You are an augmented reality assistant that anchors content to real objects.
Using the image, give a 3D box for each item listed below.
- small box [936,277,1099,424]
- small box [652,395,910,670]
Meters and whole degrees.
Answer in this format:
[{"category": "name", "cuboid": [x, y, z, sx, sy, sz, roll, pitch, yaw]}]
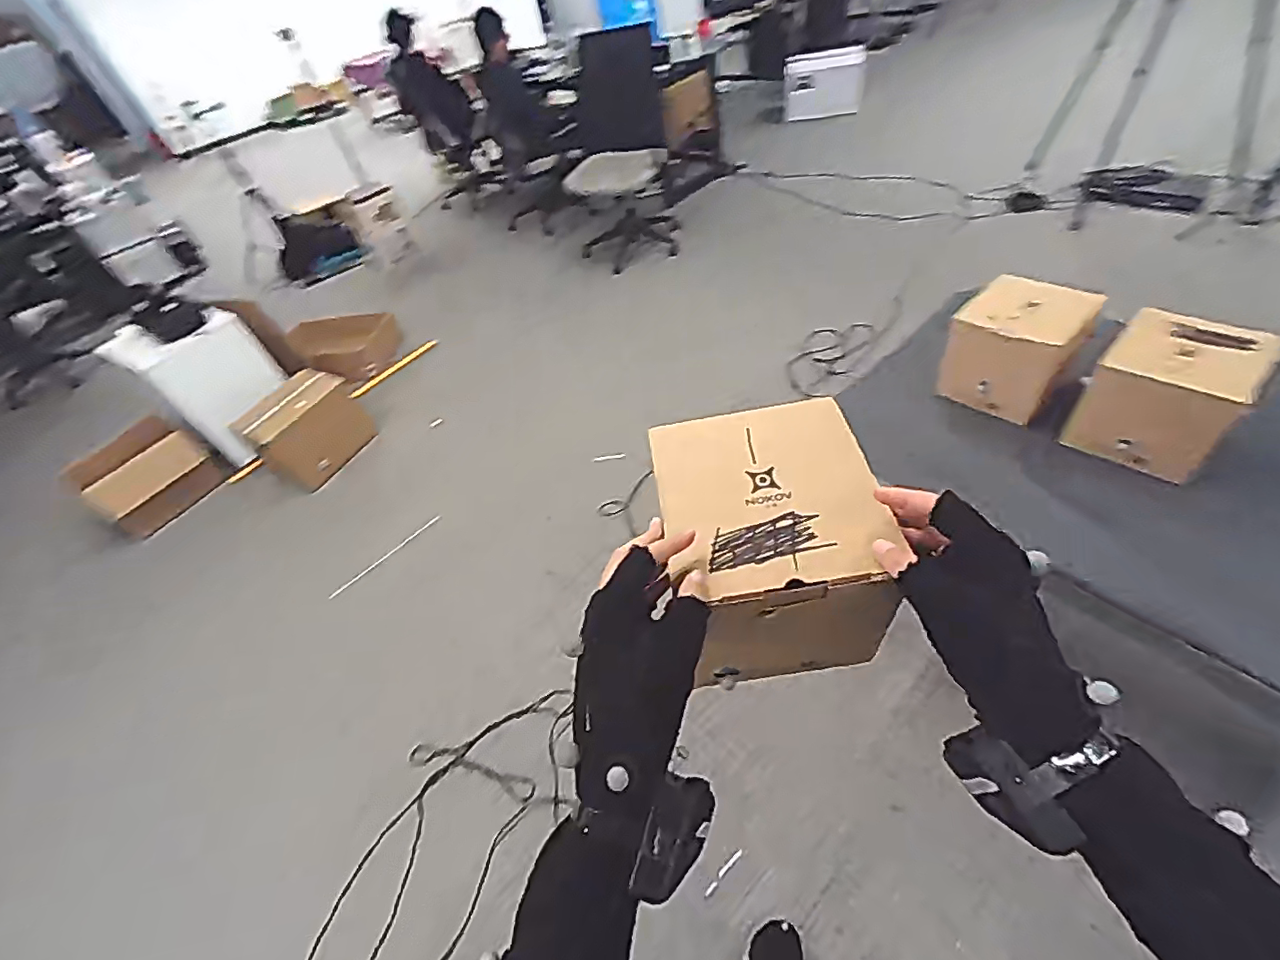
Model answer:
[{"category": "small box", "cuboid": [0.665, -0.233, 0.974, 0.179, 0.176, 0.168, -39, 50, -21]}, {"category": "small box", "cuboid": [0.109, 0.055, 0.481, 0.168, 0.176, 0.179, -9, 50, 3]}]
